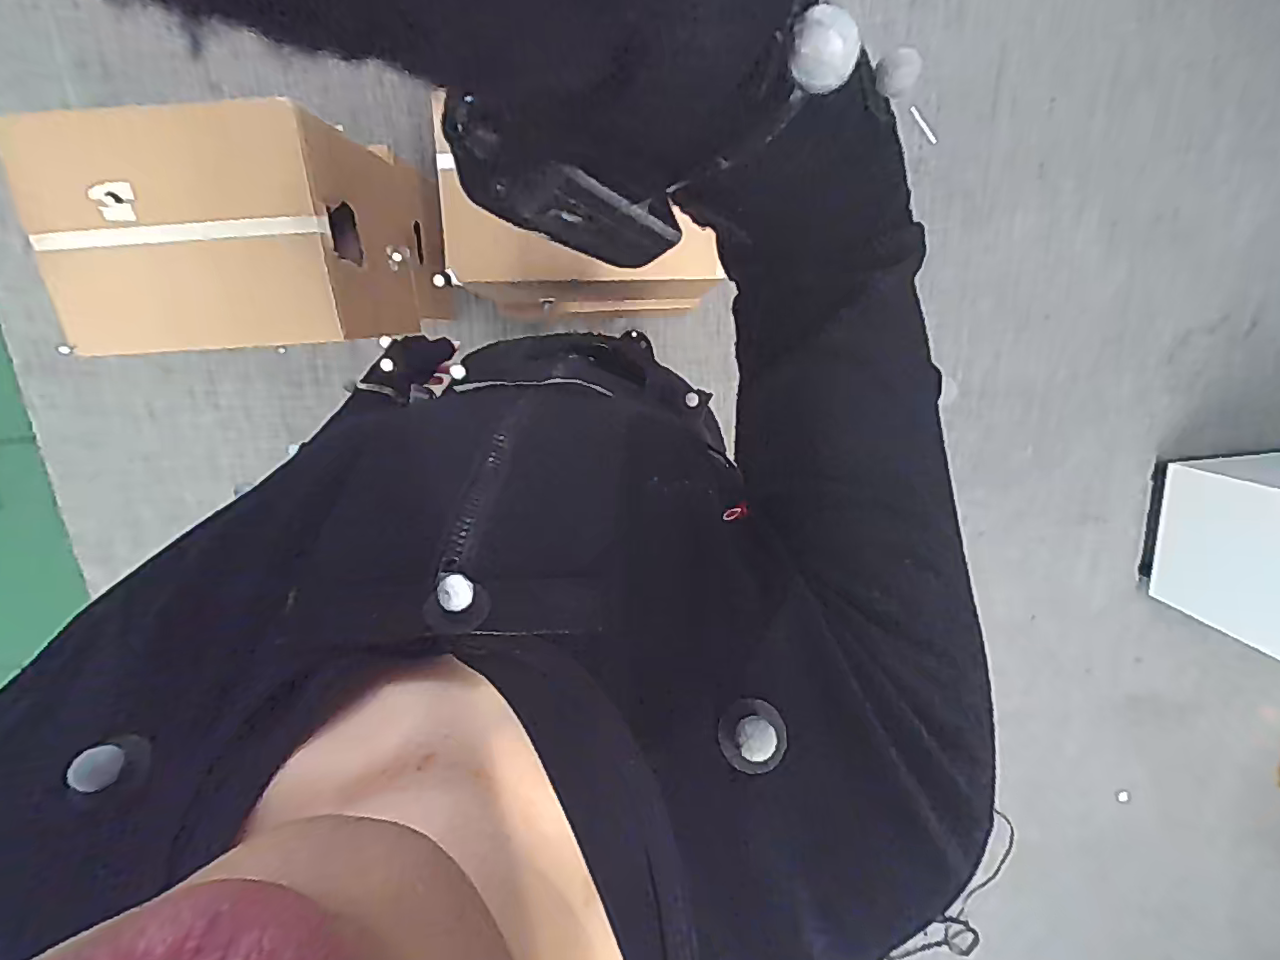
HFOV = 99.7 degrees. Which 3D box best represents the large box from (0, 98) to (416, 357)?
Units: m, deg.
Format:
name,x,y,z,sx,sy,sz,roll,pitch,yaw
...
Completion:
name,x,y,z,sx,sy,sz,roll,pitch,yaw
large box,-0.647,-0.386,0.891,0.408,0.320,0.320,-3,107,0
